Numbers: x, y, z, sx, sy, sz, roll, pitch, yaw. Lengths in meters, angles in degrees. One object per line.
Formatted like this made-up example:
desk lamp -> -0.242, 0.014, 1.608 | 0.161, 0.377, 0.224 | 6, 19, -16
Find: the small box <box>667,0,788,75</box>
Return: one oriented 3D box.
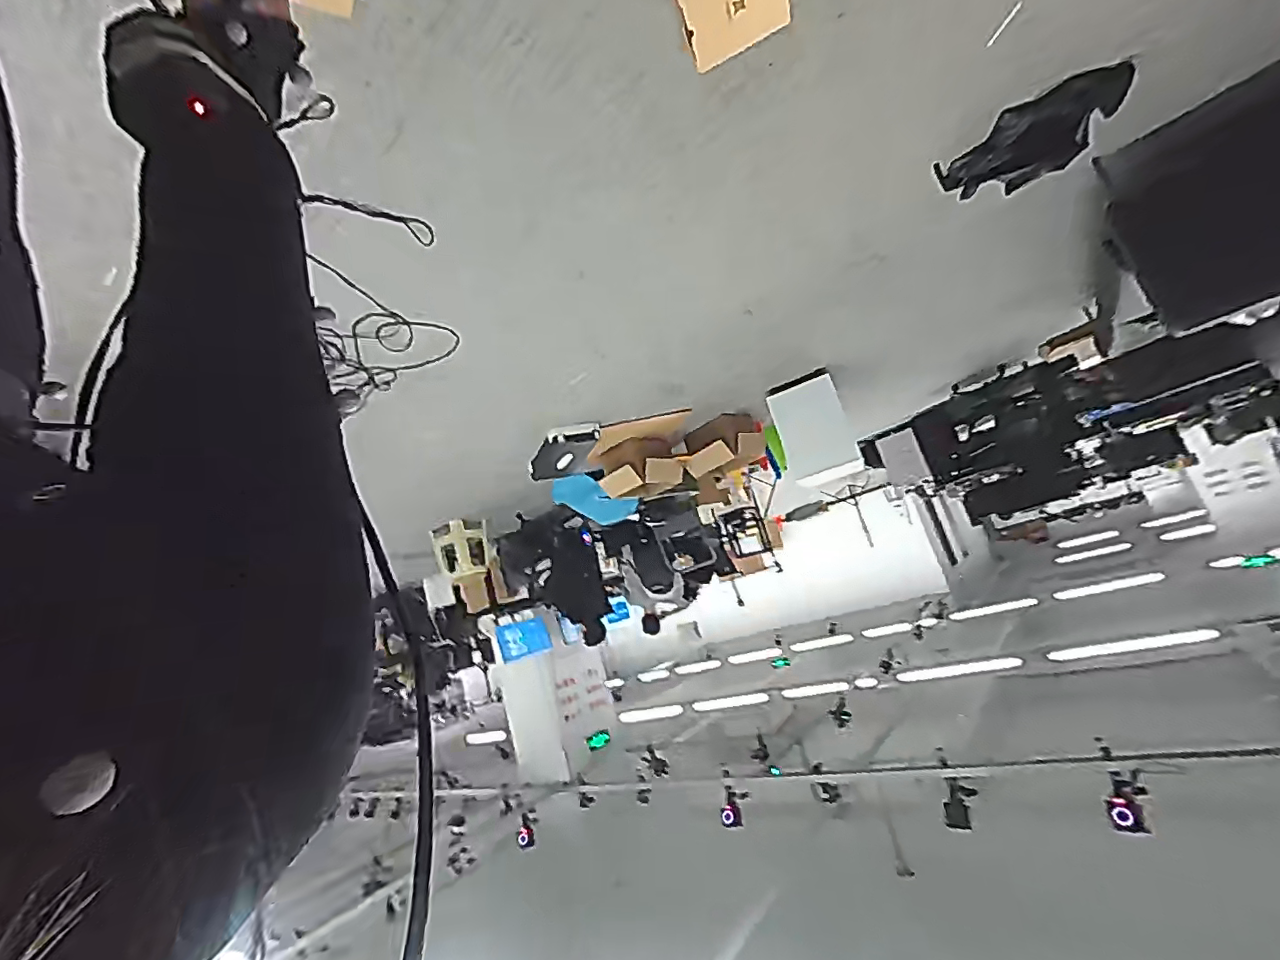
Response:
small box -> 0.132, -0.858, 0.913 | 0.179, 0.176, 0.168 | -20, 167, 16
